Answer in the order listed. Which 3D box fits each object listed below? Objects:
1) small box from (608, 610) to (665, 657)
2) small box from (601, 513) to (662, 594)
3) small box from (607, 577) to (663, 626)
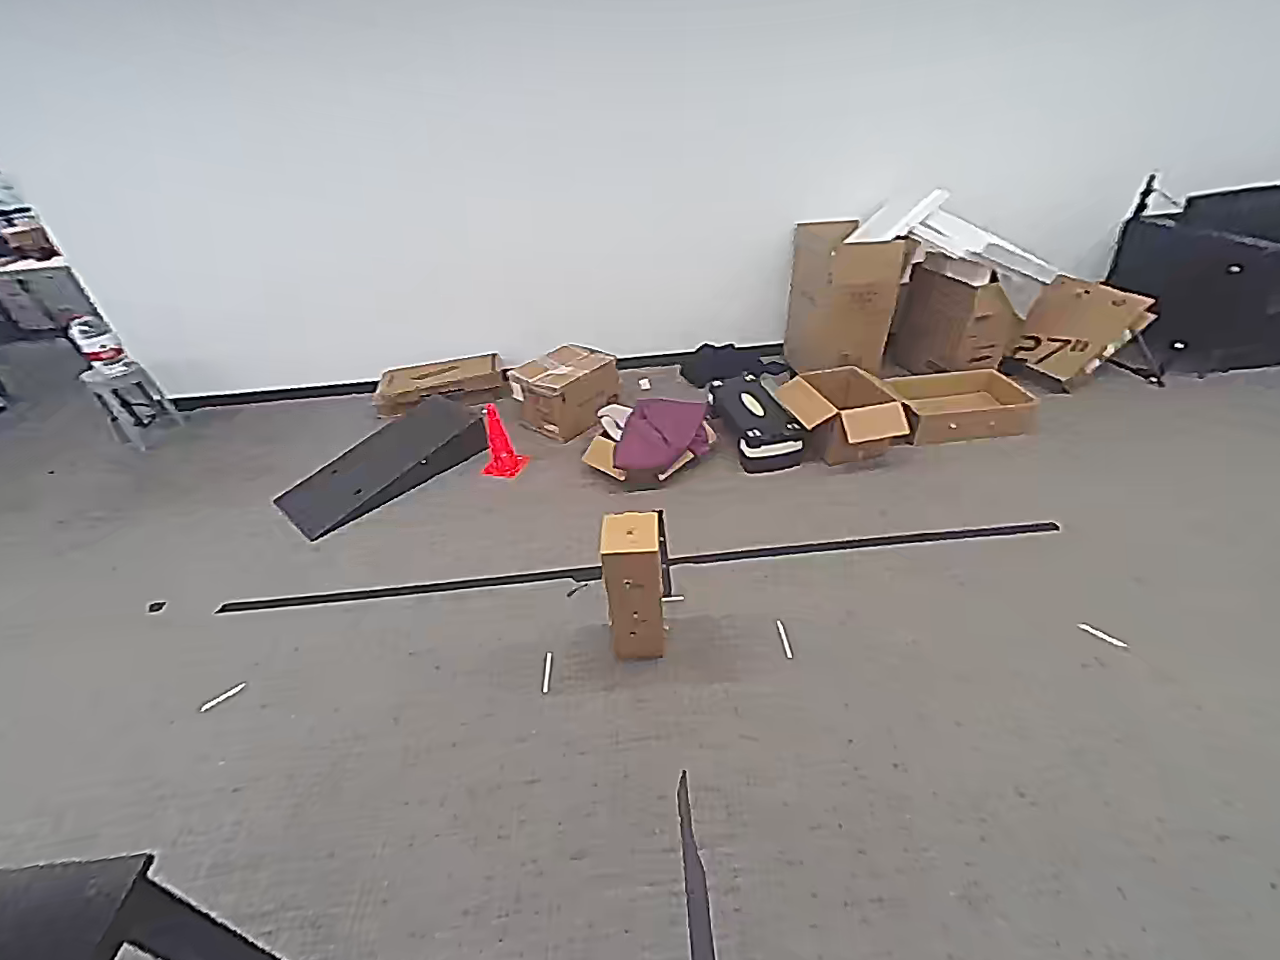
[{"bbox_3d":[-0.008,0.481,1.824,0.179,0.176,0.168,-3,36,2],"label":"small box"},{"bbox_3d":[-0.023,0.221,1.626,0.168,0.176,0.179,-4,37,3],"label":"small box"},{"bbox_3d":[-0.013,0.344,1.732,0.168,0.176,0.179,-3,36,3],"label":"small box"}]
